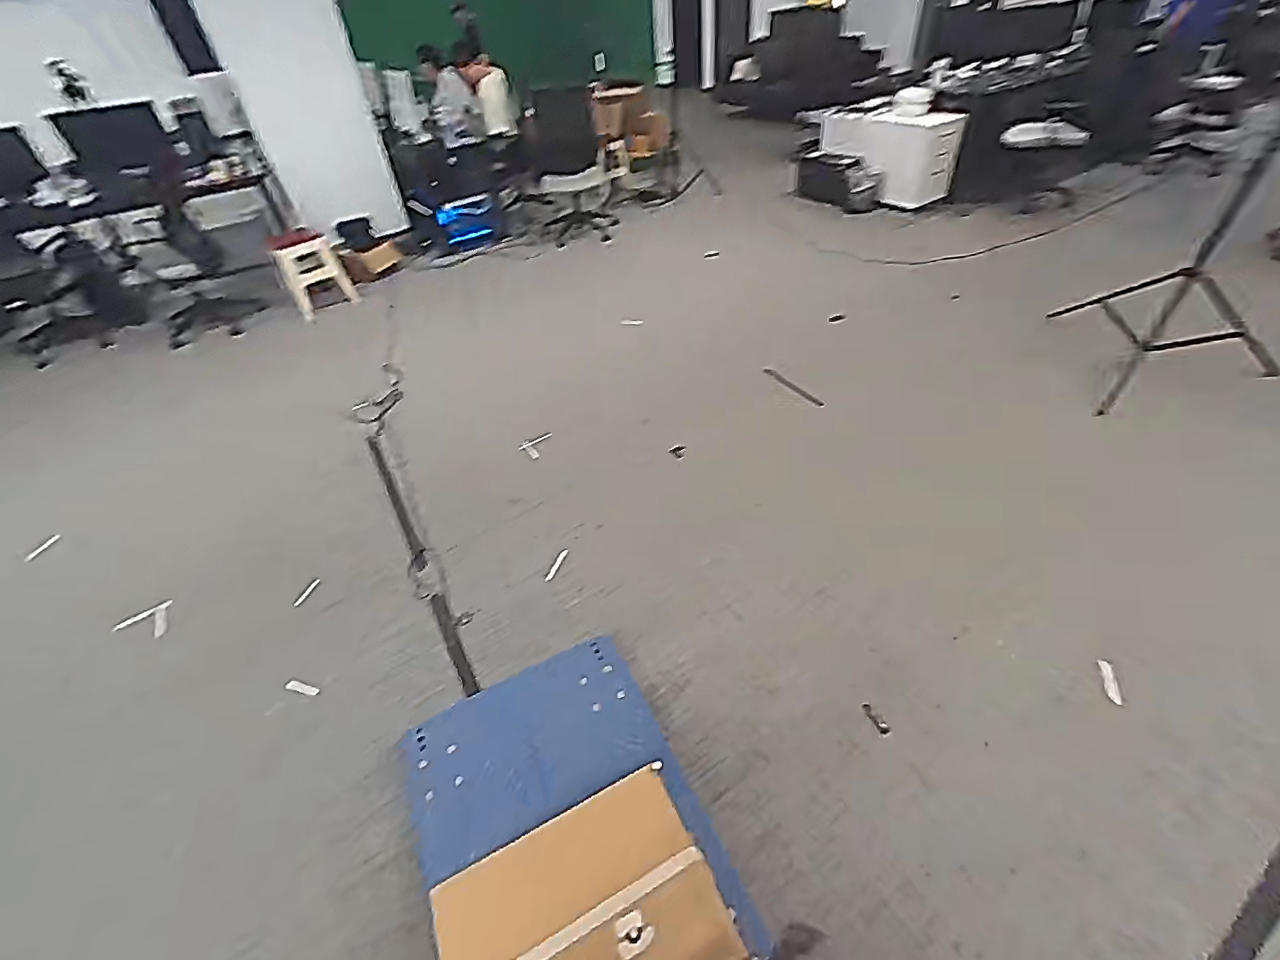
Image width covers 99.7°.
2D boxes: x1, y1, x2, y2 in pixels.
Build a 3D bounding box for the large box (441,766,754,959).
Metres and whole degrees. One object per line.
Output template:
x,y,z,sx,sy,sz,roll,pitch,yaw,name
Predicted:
-0.066,0.785,0.917,0.408,0.320,0.320,-22,45,-17,large box
